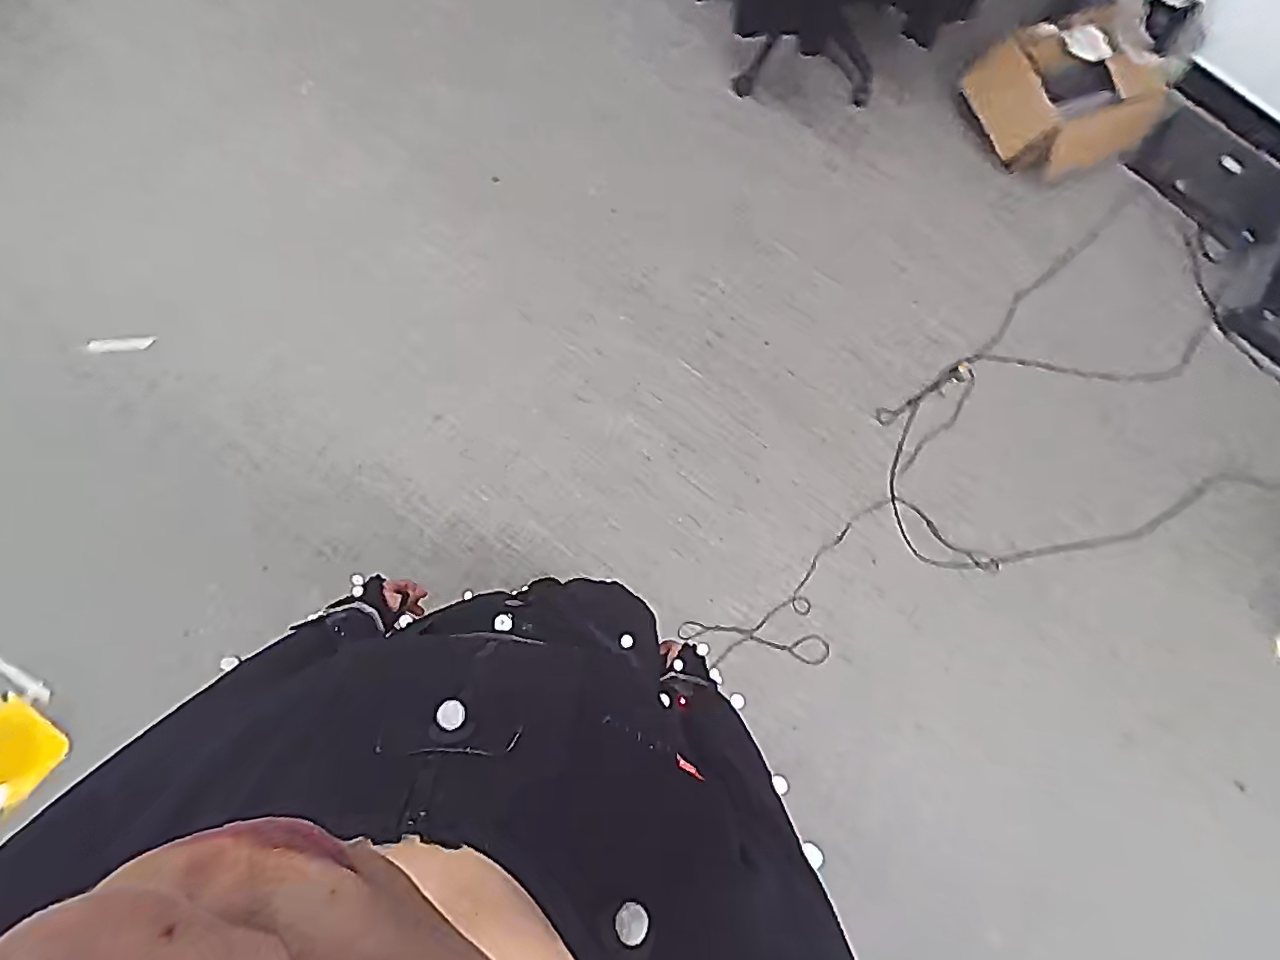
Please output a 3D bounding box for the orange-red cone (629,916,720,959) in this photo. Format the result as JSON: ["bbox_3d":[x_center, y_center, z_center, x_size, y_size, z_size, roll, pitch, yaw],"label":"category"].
[{"bbox_3d":[0.082,1.118,1.081,0.199,0.360,0.198,33,79,1],"label":"orange-red cone"}]
